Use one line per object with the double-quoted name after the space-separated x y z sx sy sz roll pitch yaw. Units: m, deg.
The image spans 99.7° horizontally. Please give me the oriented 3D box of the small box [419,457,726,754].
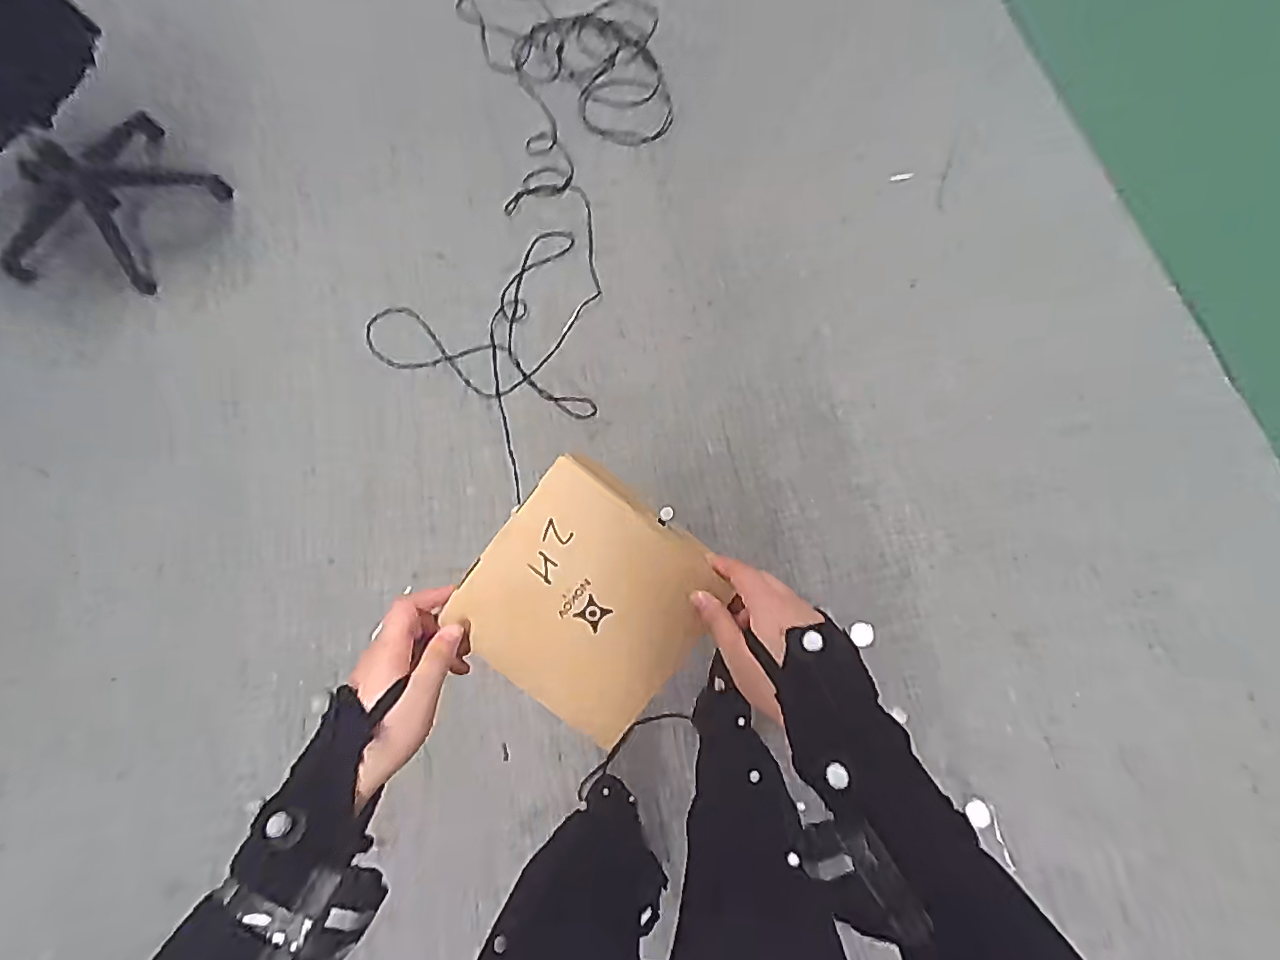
-0.050 0.090 0.485 0.179 0.176 0.168 38 93 -1 "small box"
